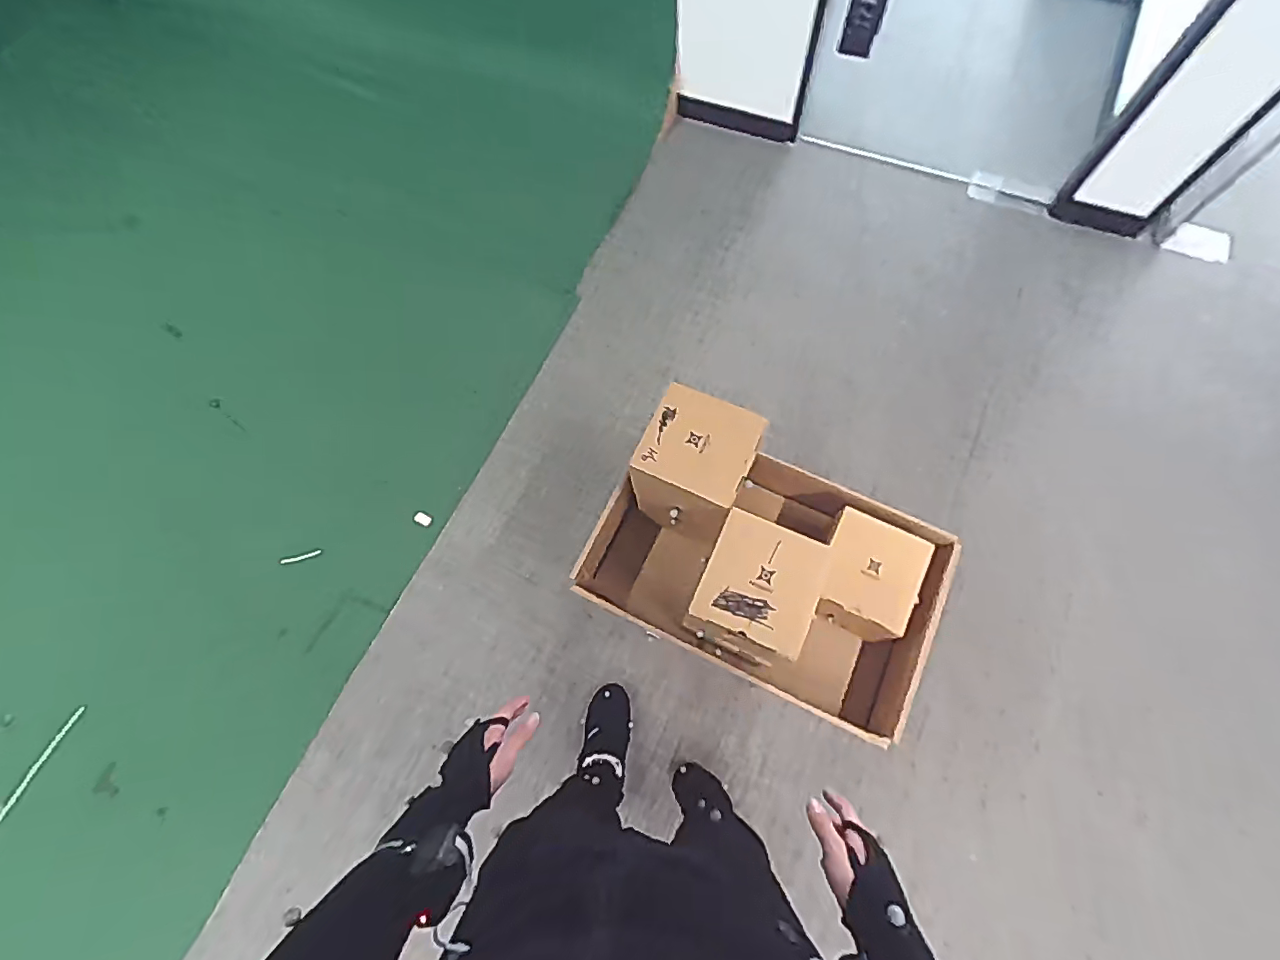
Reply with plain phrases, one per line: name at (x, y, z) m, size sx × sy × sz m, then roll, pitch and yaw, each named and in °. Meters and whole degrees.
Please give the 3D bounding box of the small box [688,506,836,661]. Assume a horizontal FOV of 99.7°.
small box at (0.184, 0.171, 0.855) m, size 0.168 × 0.176 × 0.179 m, roll 23°, pitch 73°, yaw 11°

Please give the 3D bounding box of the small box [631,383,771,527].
small box at (0.101, -0.032, 0.934) m, size 0.179 × 0.176 × 0.168 m, roll 25°, pitch 74°, yaw 10°
